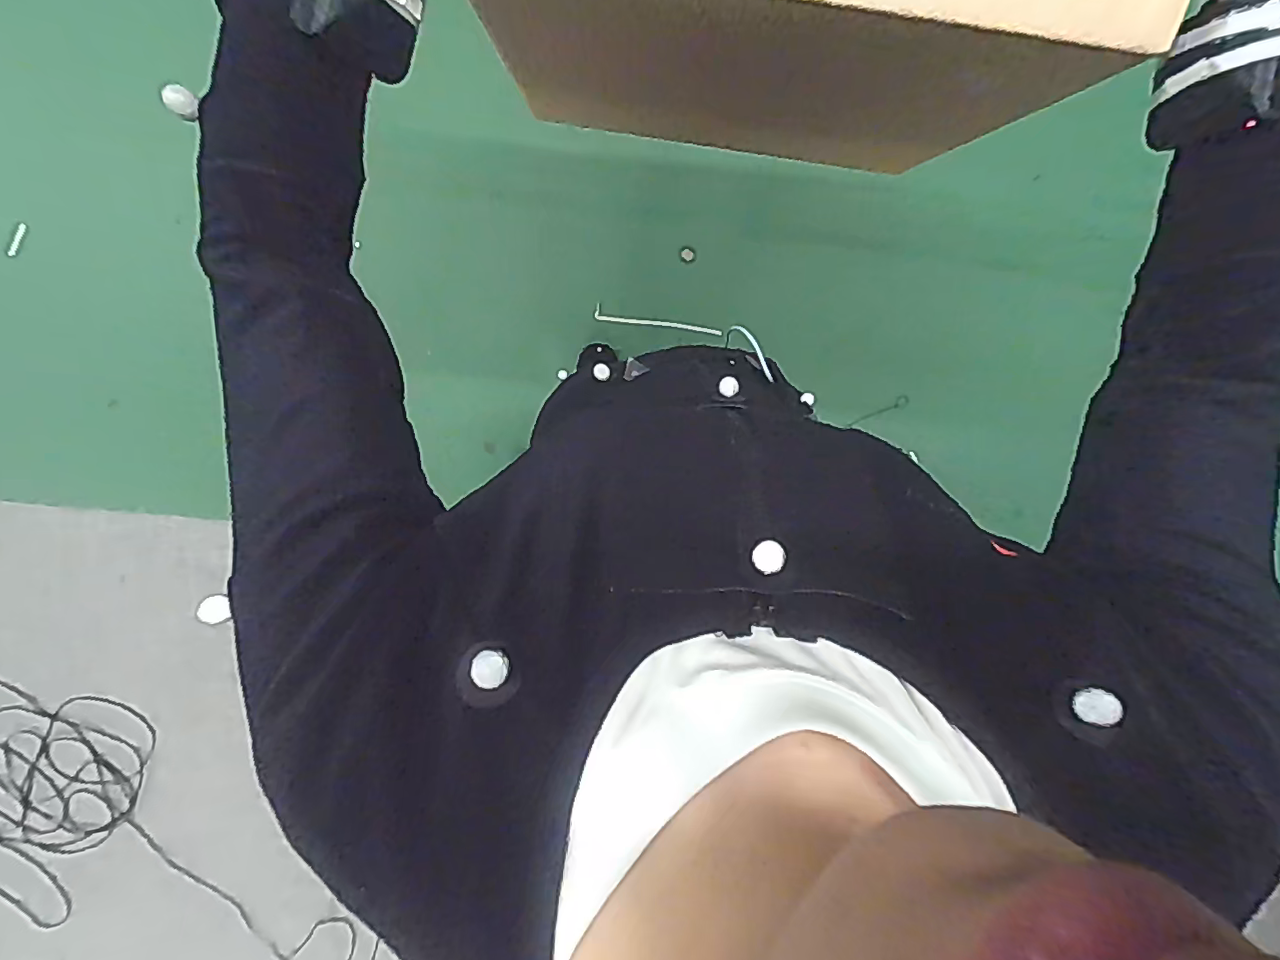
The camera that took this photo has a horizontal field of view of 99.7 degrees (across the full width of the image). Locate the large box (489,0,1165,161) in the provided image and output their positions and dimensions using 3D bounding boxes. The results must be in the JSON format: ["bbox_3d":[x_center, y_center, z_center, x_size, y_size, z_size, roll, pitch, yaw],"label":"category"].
[{"bbox_3d":[0.106,-0.461,0.391,0.408,0.320,0.320,6,109,-4],"label":"large box"}]
